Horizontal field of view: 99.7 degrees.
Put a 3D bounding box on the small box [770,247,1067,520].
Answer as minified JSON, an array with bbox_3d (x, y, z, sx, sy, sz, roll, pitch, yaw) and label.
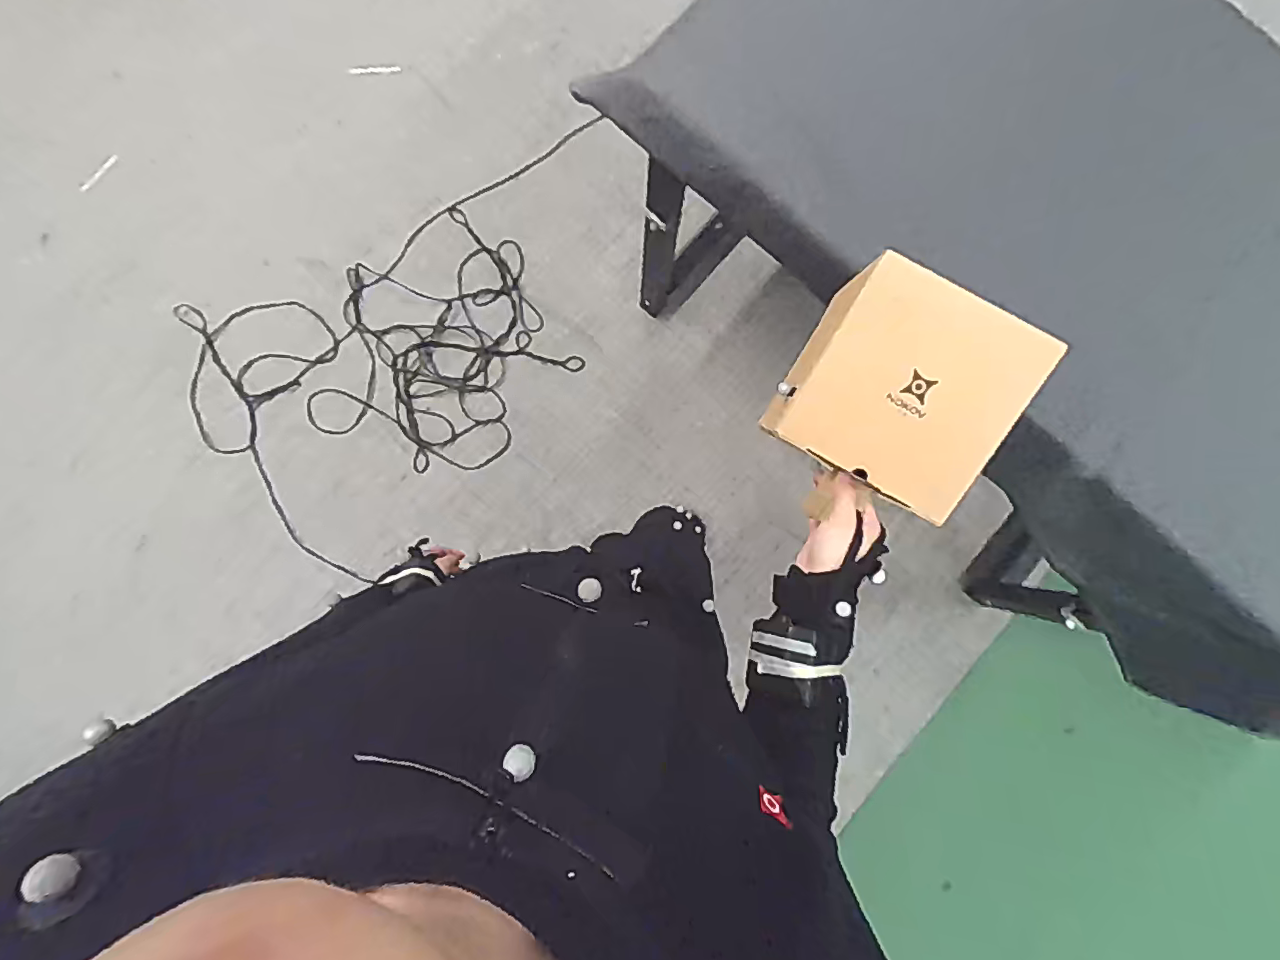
[{"bbox_3d":[0.243,-0.090,0.530,0.168,0.176,0.179,29,101,1],"label":"small box"}]
